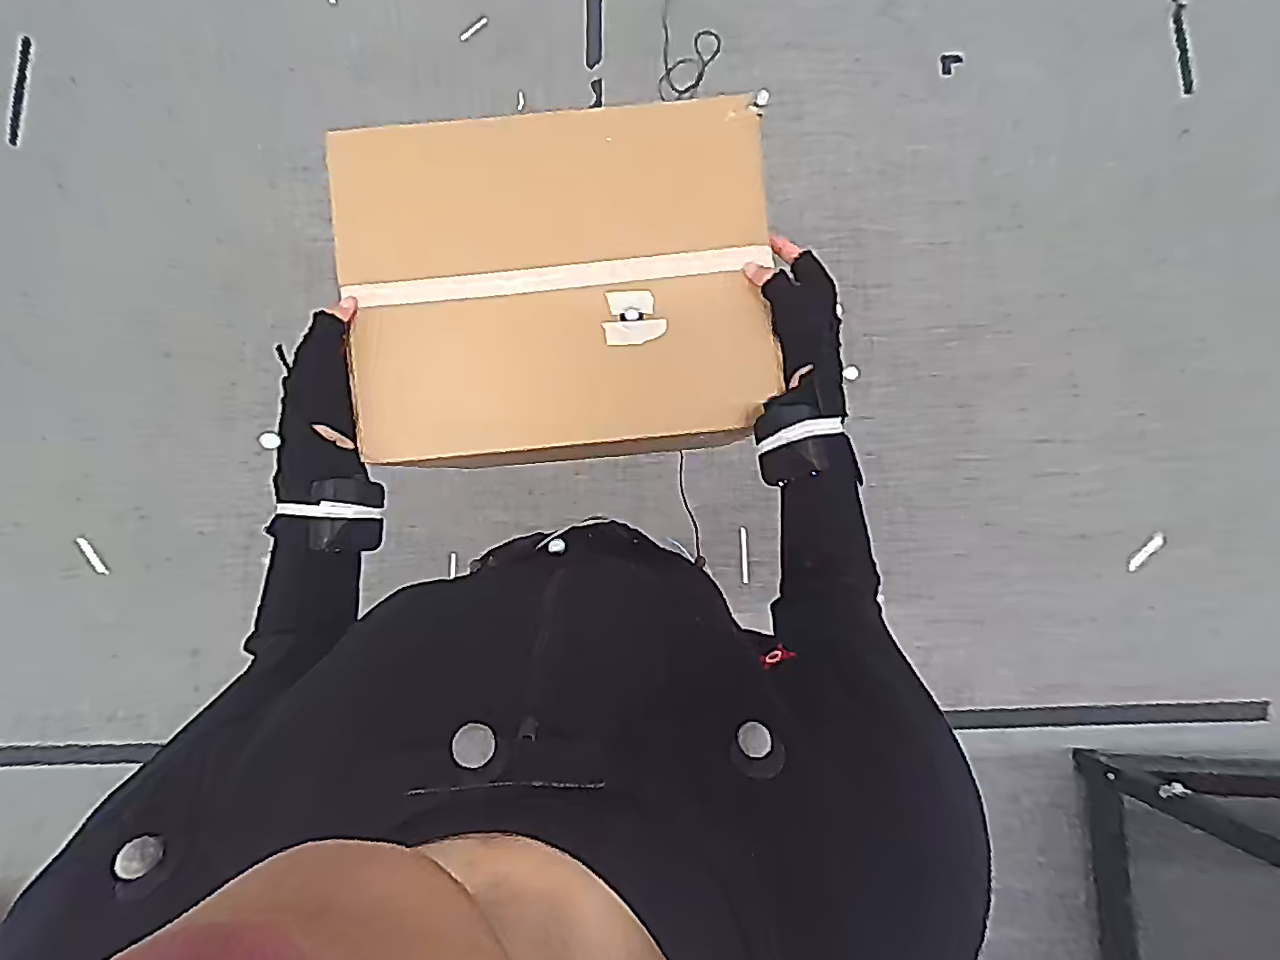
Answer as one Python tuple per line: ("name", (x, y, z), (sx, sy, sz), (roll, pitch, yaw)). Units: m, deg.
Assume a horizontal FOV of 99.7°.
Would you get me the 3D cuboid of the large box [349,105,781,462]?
("large box", (-0.076, -0.197, 0.672), (0.408, 0.320, 0.320), (-4, 91, -1))
